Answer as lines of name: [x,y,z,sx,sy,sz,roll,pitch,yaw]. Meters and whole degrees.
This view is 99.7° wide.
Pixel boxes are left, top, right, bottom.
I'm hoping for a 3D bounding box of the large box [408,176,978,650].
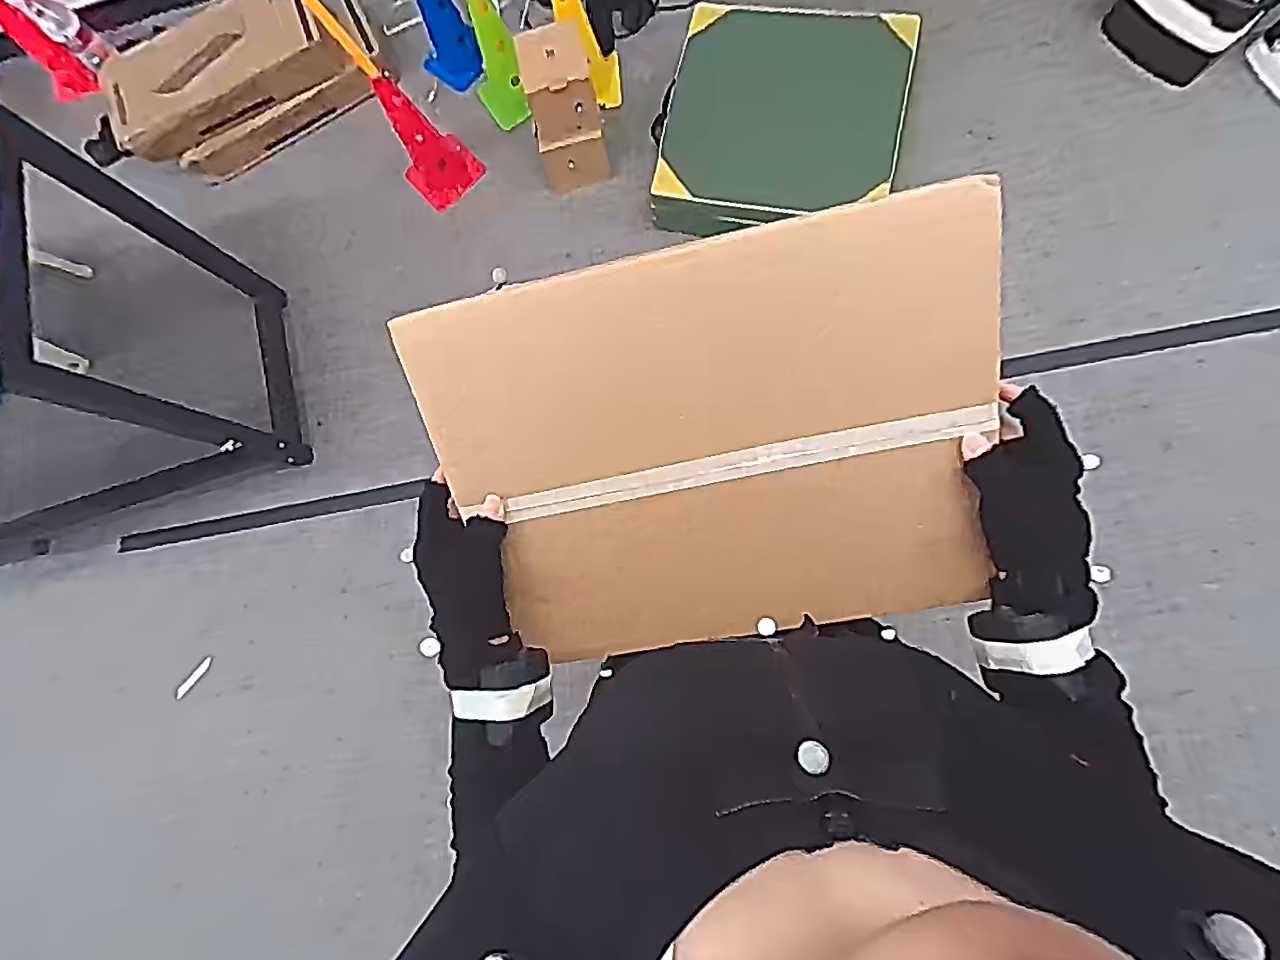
large box: [0.059,-0.073,0.559,0.408,0.320,0.320,-11,112,7]
